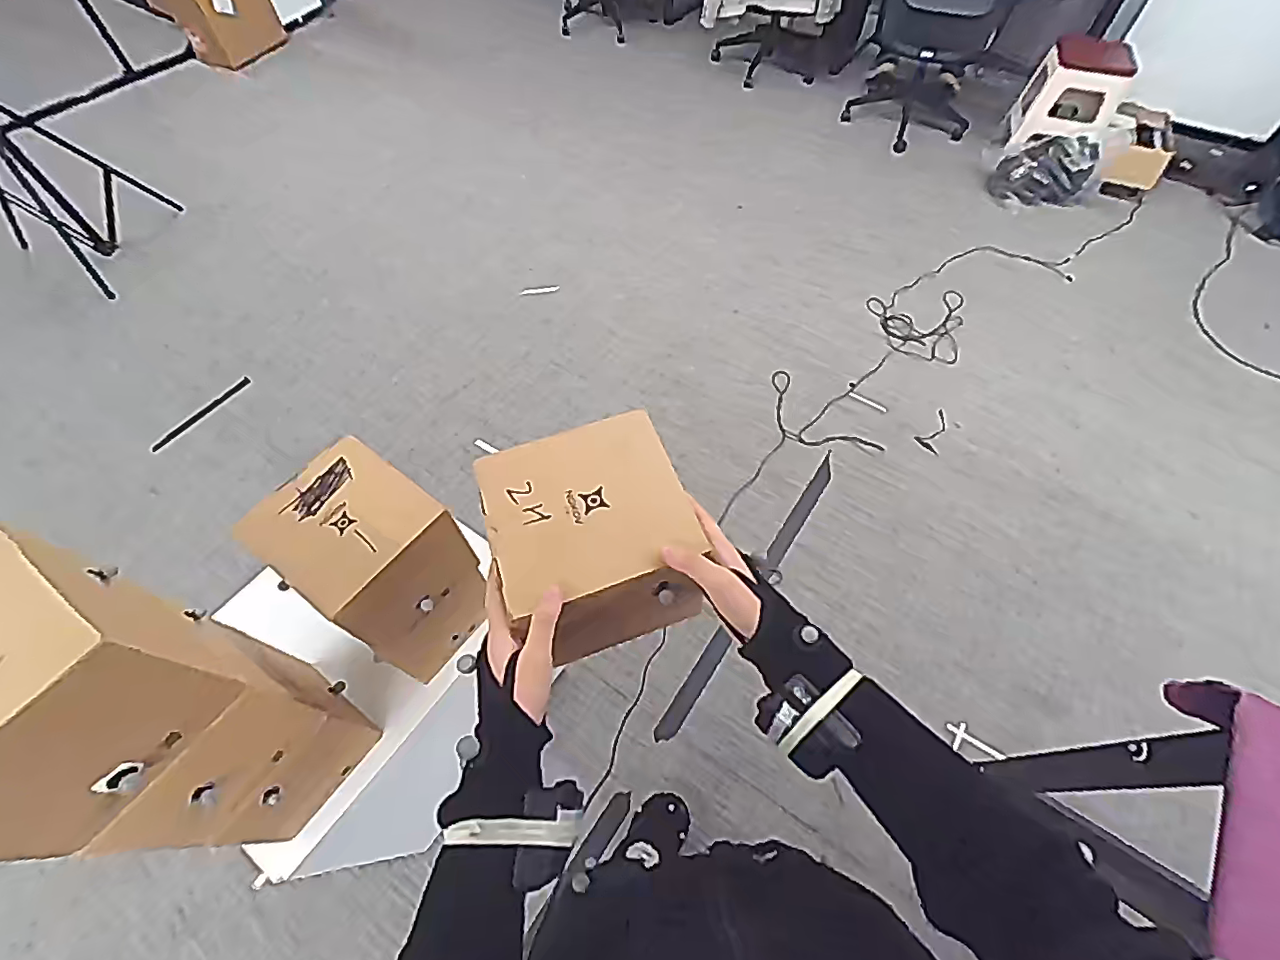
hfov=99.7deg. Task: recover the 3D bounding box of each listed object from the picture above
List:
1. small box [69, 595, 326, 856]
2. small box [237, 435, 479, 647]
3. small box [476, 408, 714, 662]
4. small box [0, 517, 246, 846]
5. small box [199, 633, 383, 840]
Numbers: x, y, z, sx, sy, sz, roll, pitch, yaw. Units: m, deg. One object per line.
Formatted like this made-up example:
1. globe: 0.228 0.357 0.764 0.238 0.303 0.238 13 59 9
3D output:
1. small box: -0.483 0.253 0.573 0.179 0.176 0.168 30 63 17
2. small box: -0.334 0.083 0.675 0.179 0.176 0.168 33 65 17
3. small box: -0.043 0.061 0.541 0.179 0.176 0.168 -18 59 -8
4. small box: -0.483 0.166 0.435 0.179 0.176 0.168 30 64 16
5. small box: -0.485 0.338 0.711 0.179 0.176 0.168 31 64 18
